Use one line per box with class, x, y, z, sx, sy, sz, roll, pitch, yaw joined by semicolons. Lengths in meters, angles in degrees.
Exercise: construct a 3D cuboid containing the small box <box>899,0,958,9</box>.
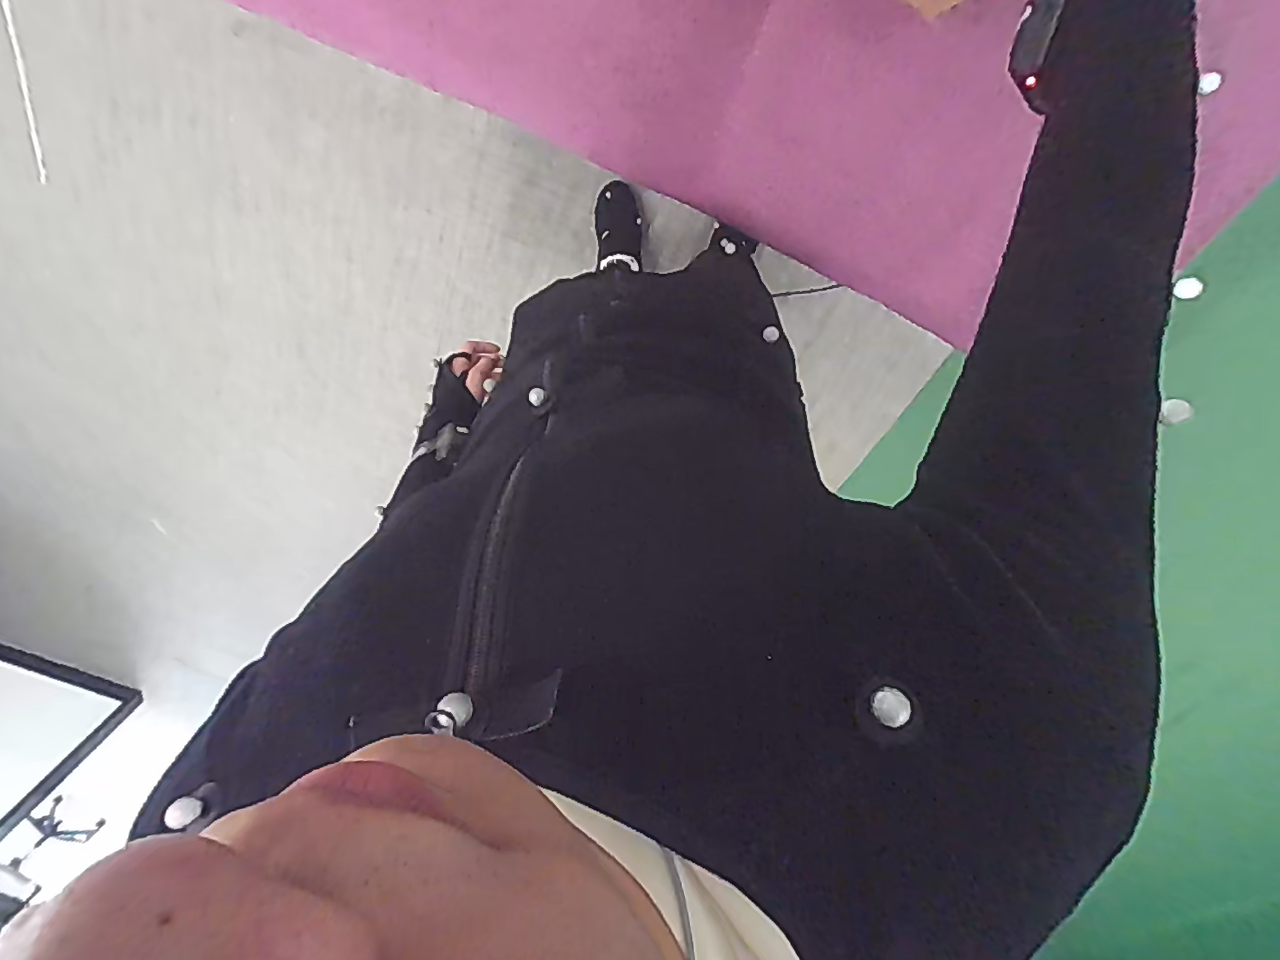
small box;0.258;-0.542;0.455;0.179;0.176;0.168;26;122;-8
